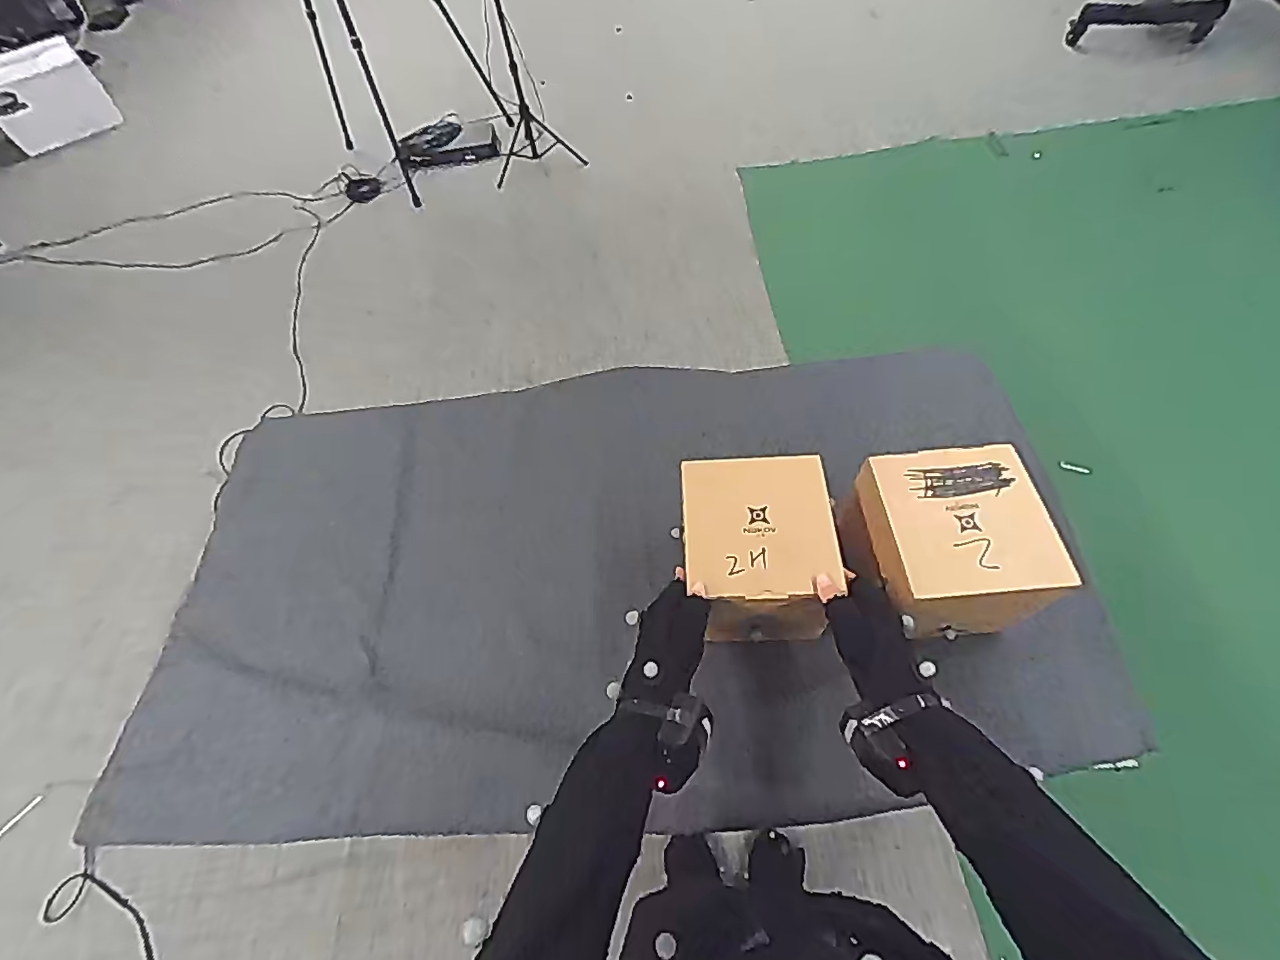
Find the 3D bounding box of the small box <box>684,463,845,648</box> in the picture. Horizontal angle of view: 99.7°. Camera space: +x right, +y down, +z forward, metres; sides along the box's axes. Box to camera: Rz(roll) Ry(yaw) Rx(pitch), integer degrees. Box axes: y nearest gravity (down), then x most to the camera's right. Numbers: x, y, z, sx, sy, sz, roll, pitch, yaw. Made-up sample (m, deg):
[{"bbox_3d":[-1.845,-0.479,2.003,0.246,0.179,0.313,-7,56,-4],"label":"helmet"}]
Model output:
[{"bbox_3d":[0.138,0.097,0.671,0.168,0.176,0.179,-2,58,5],"label":"small box"}]
